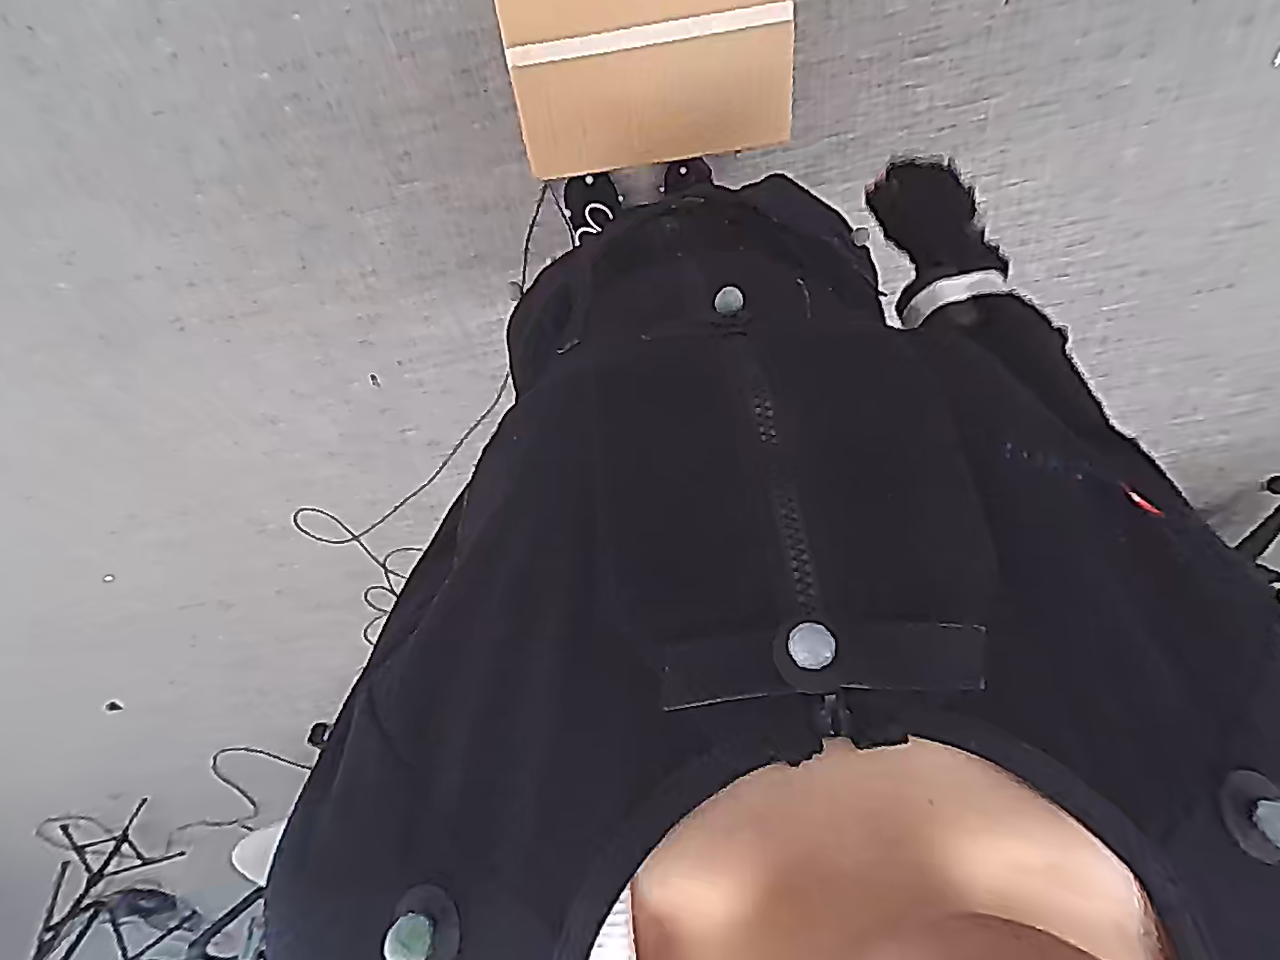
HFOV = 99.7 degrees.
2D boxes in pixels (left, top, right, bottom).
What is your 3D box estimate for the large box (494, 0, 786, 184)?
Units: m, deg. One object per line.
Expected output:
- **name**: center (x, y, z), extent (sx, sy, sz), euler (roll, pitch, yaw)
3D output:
- **large box**: center (0.002, -0.702, 0.882), extent (0.408, 0.320, 0.320), euler (-8, 123, 1)
